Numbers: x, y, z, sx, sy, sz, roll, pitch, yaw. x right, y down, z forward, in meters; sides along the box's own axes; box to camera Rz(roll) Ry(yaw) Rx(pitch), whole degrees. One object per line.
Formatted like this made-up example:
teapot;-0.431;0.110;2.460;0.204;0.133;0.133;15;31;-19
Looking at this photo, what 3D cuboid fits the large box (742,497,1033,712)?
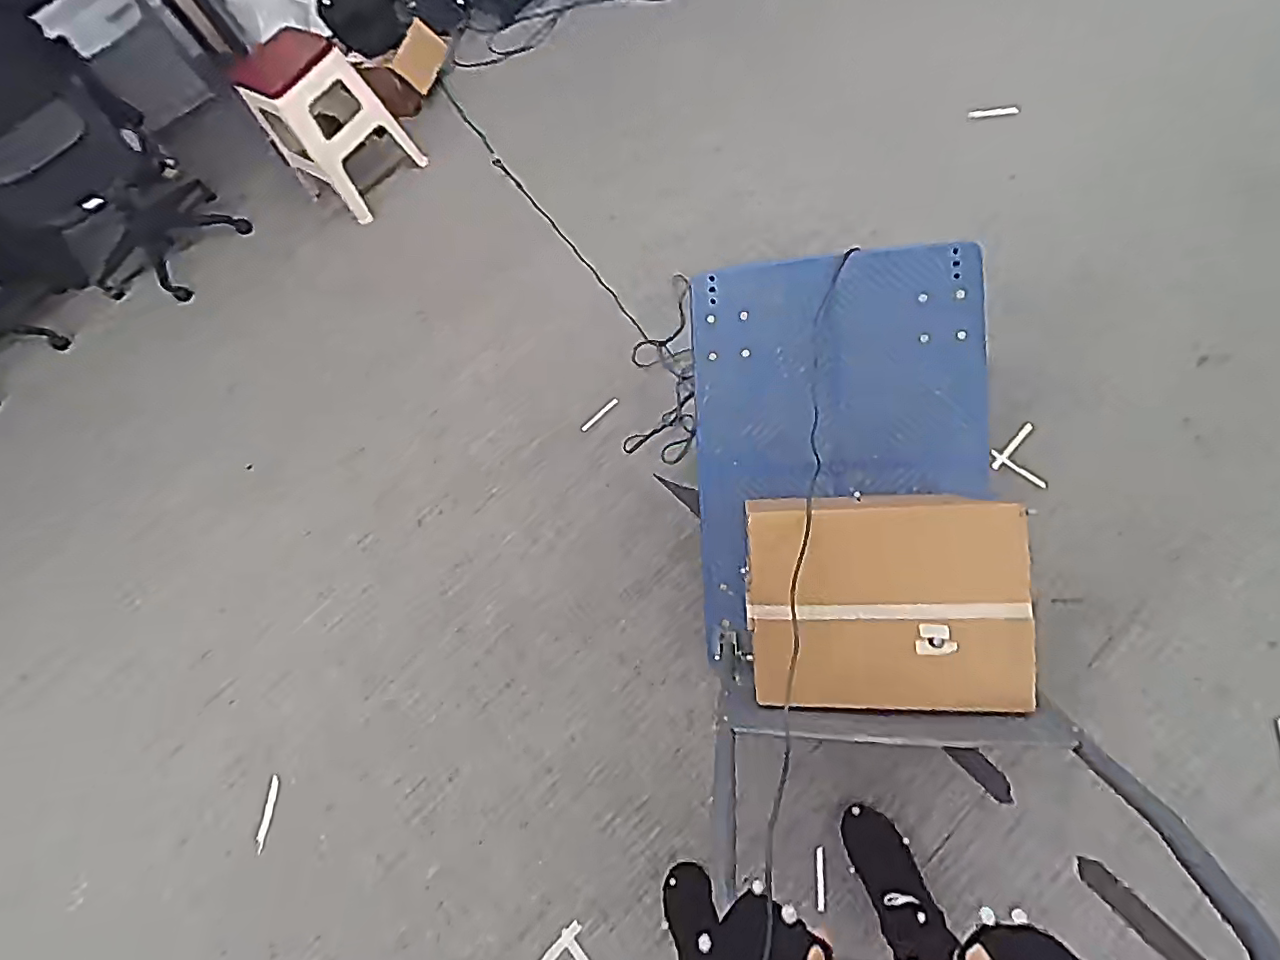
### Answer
large box;0.398;0.199;0.973;0.408;0.320;0.320;-3;92;10
